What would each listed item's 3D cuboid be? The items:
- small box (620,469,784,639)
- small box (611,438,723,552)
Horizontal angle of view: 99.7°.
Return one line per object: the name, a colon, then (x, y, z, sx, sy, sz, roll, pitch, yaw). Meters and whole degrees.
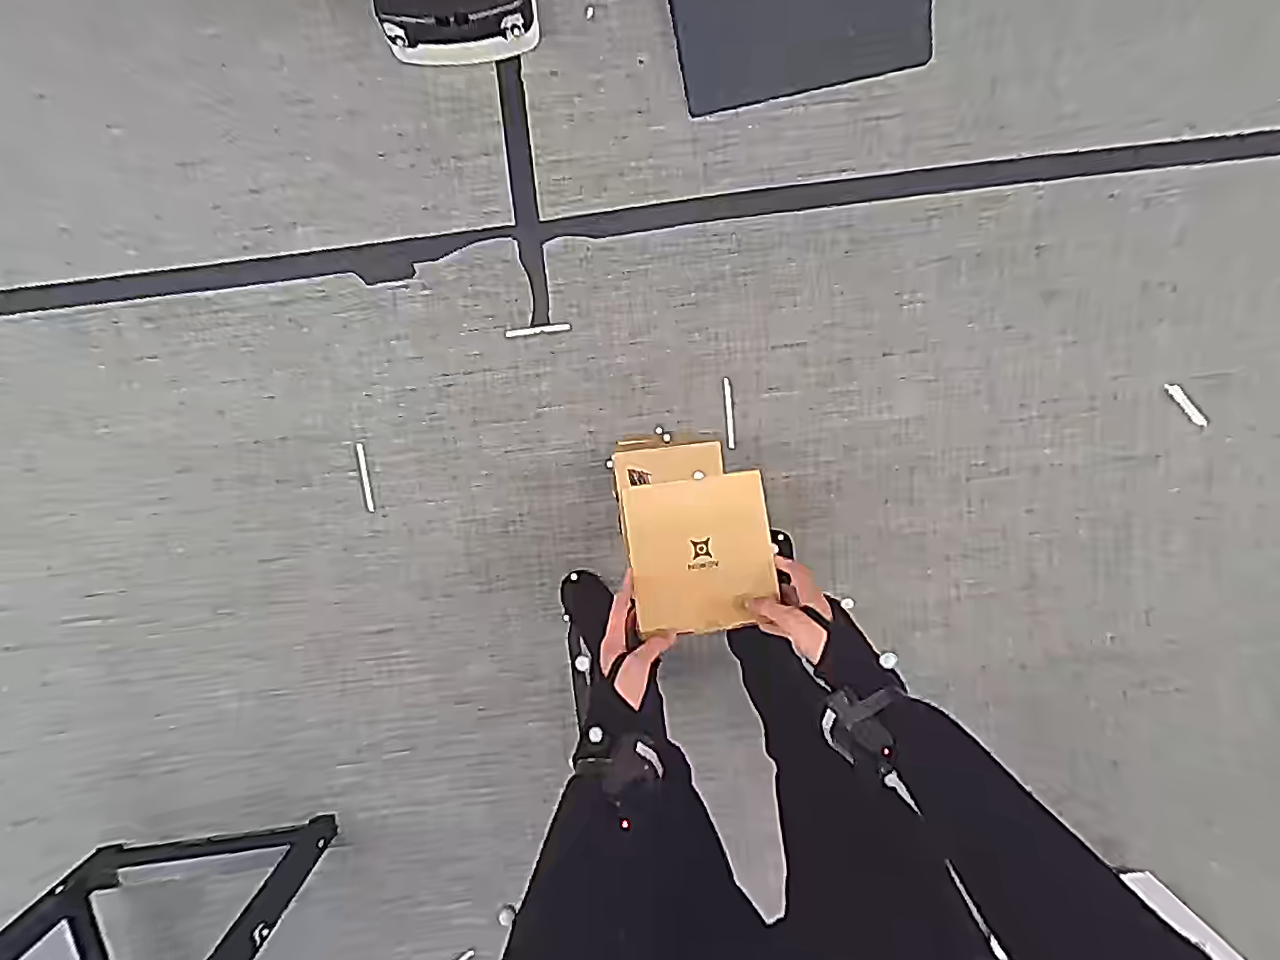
small box: (0.066, 0.092, 0.687, 0.168, 0.176, 0.179, -7, 84, -4)
small box: (0.047, 0.020, 0.935, 0.179, 0.176, 0.168, -7, 98, -2)
